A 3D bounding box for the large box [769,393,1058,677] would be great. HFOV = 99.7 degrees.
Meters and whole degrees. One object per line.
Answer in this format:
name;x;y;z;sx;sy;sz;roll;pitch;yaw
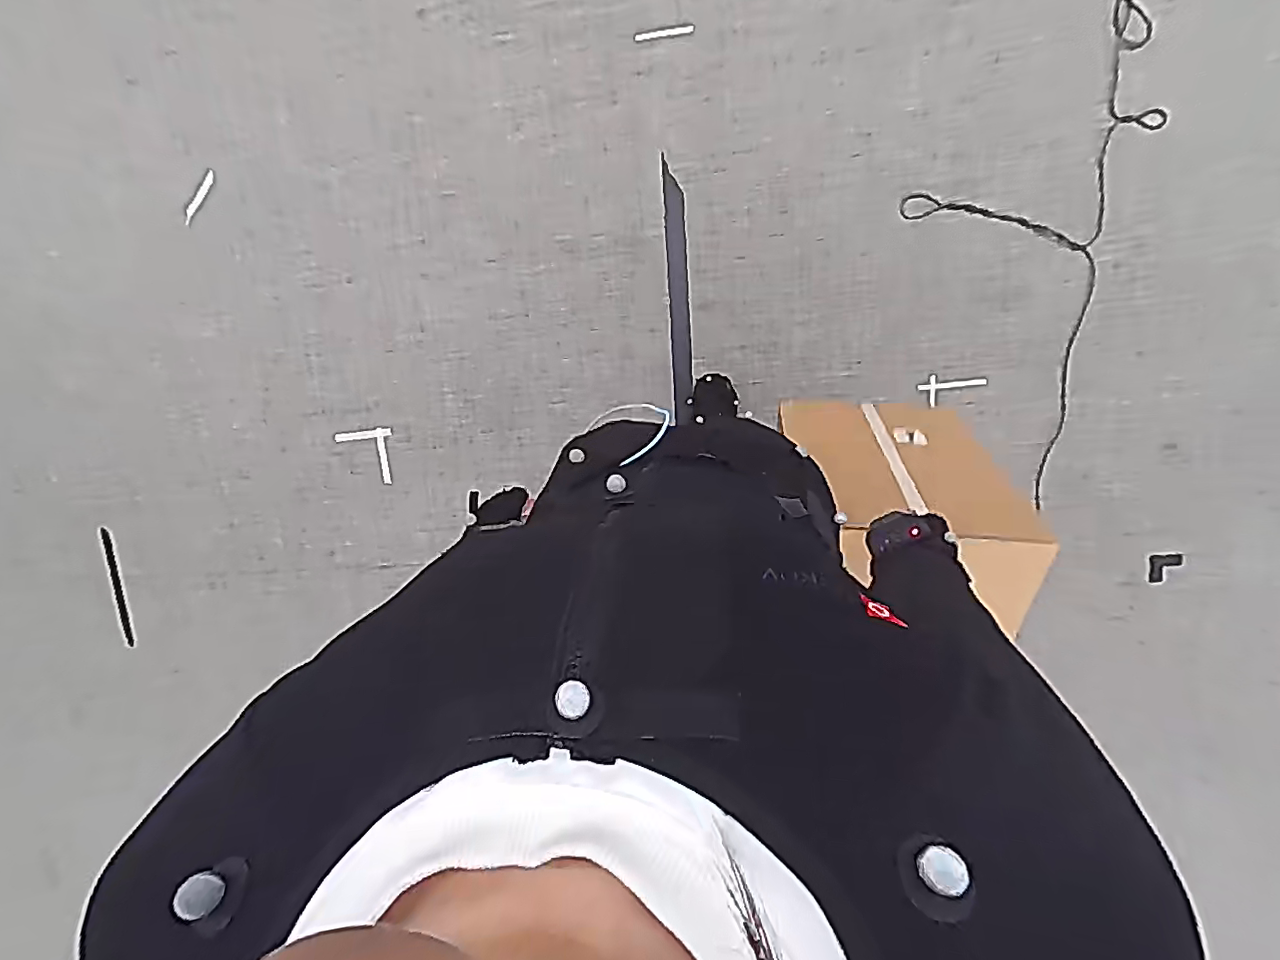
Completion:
large box;0.403;0.075;0.932;0.320;0.408;0.320;3;122;7
